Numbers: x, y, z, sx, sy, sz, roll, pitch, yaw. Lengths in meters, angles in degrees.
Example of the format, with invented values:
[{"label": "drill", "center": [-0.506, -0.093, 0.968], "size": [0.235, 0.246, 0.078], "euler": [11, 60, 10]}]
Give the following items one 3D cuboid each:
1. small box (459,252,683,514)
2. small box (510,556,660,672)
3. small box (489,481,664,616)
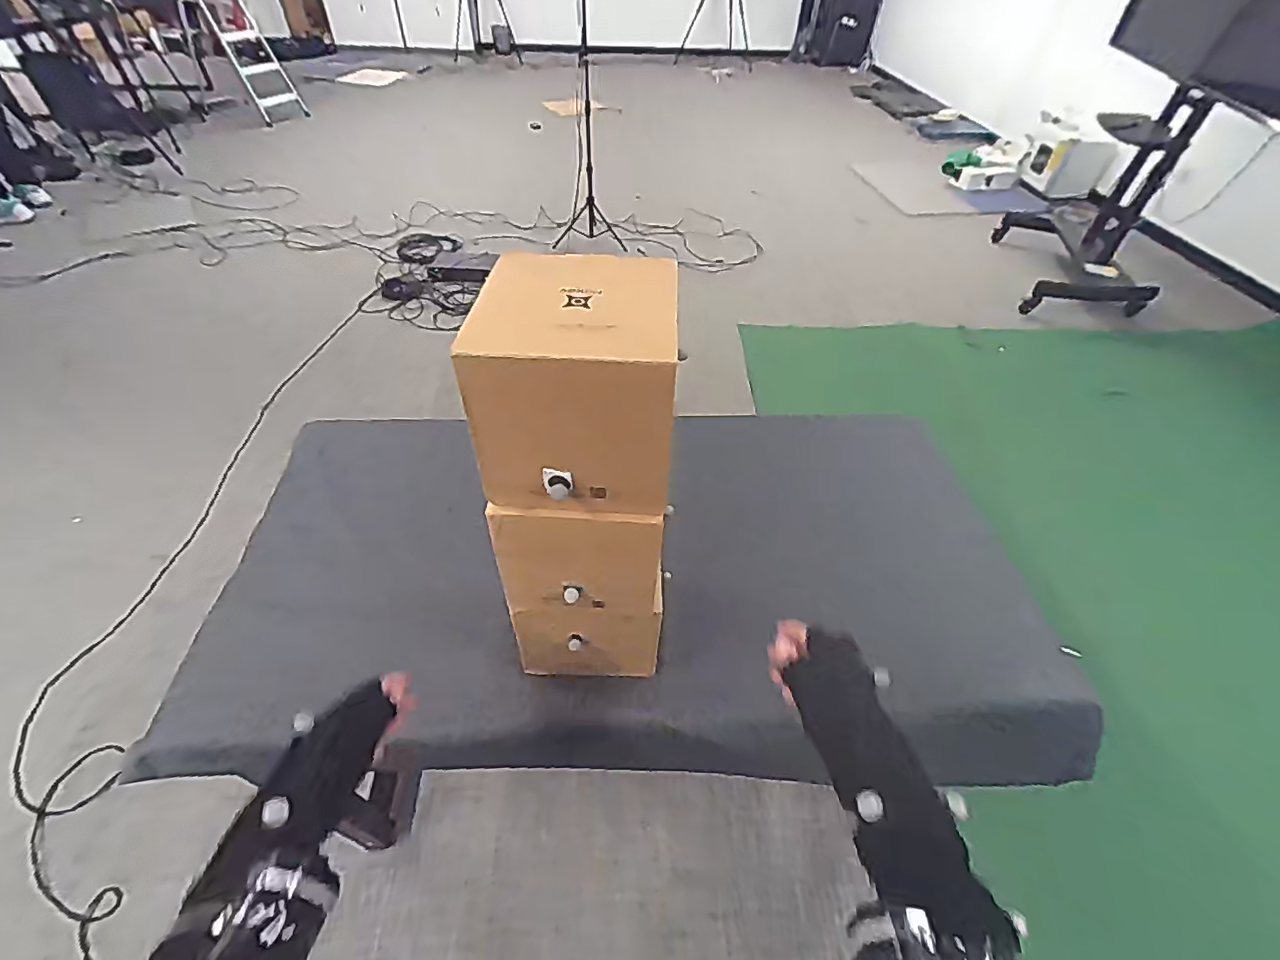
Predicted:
[{"label": "small box", "center": [-0.049, -0.090, 0.503], "size": [0.168, 0.176, 0.179], "euler": [3, 47, 1]}, {"label": "small box", "center": [-0.064, 0.145, 0.729], "size": [0.179, 0.176, 0.168], "euler": [2, 46, -1]}, {"label": "small box", "center": [-0.058, 0.029, 0.613], "size": [0.168, 0.176, 0.179], "euler": [4, 46, 1]}]
